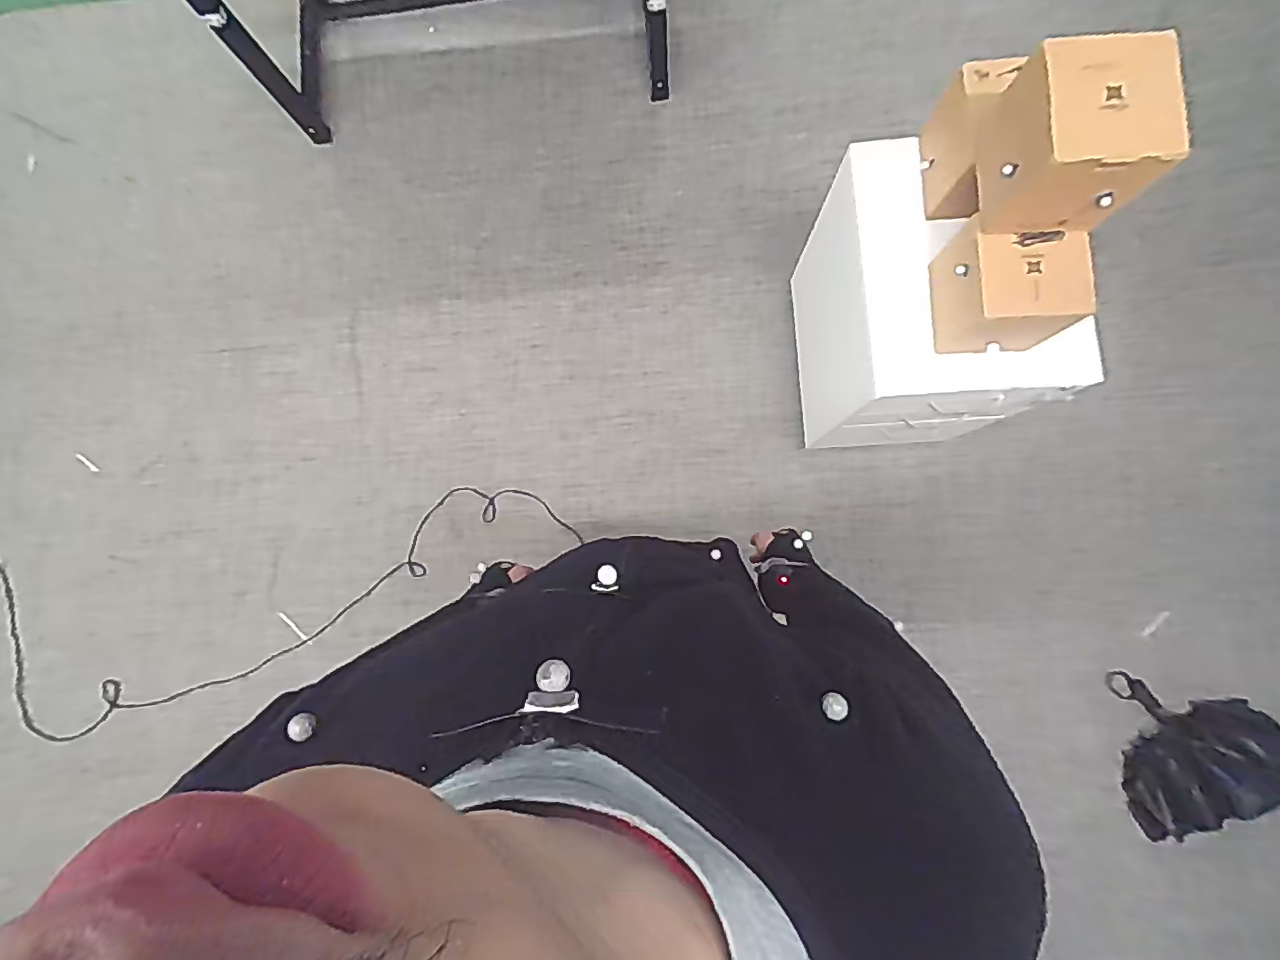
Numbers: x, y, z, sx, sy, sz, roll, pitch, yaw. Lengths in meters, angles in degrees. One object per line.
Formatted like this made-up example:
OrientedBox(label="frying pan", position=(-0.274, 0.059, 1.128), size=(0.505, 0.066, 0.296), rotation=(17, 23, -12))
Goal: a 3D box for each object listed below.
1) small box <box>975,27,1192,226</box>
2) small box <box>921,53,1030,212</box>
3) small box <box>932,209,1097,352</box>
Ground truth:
OrientedBox(label="small box", position=(0.603, -0.478, 0.759), size=(0.168, 0.176, 0.179), rotation=(-1, 83, 3))
OrientedBox(label="small box", position=(0.609, -0.586, 0.934), size=(0.168, 0.176, 0.179), rotation=(-3, 86, 3))
OrientedBox(label="small box", position=(0.611, -0.327, 0.905), size=(0.168, 0.176, 0.179), rotation=(-1, 84, 4))
